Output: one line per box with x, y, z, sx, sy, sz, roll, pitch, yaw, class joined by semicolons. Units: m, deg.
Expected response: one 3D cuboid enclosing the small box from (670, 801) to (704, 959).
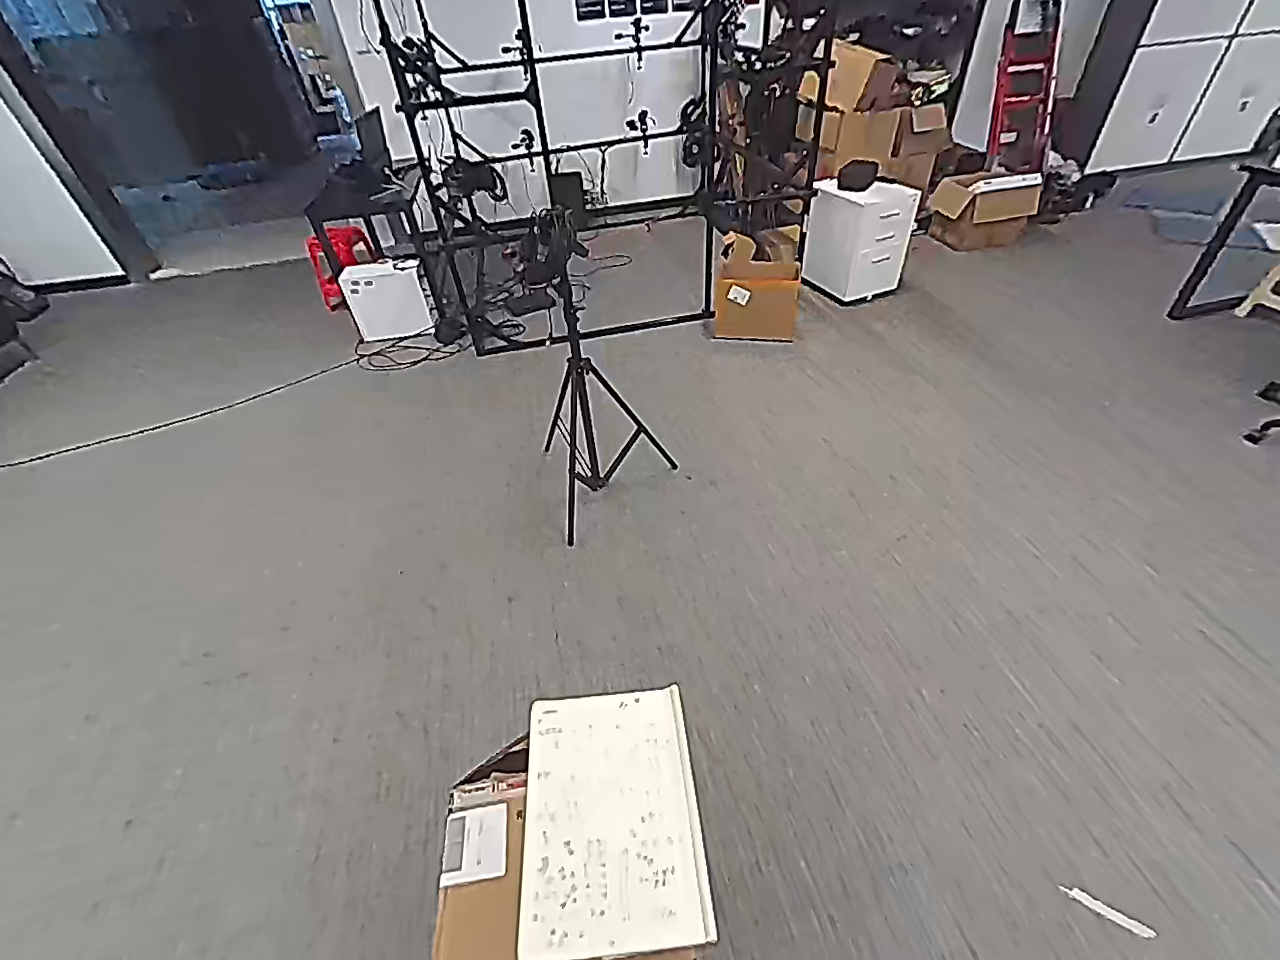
-0.015;0.597;0.786;0.179;0.176;0.168;-8;42;-6;small box

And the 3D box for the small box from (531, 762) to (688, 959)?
-0.038;0.479;0.671;0.168;0.176;0.179;-5;43;-4;small box
